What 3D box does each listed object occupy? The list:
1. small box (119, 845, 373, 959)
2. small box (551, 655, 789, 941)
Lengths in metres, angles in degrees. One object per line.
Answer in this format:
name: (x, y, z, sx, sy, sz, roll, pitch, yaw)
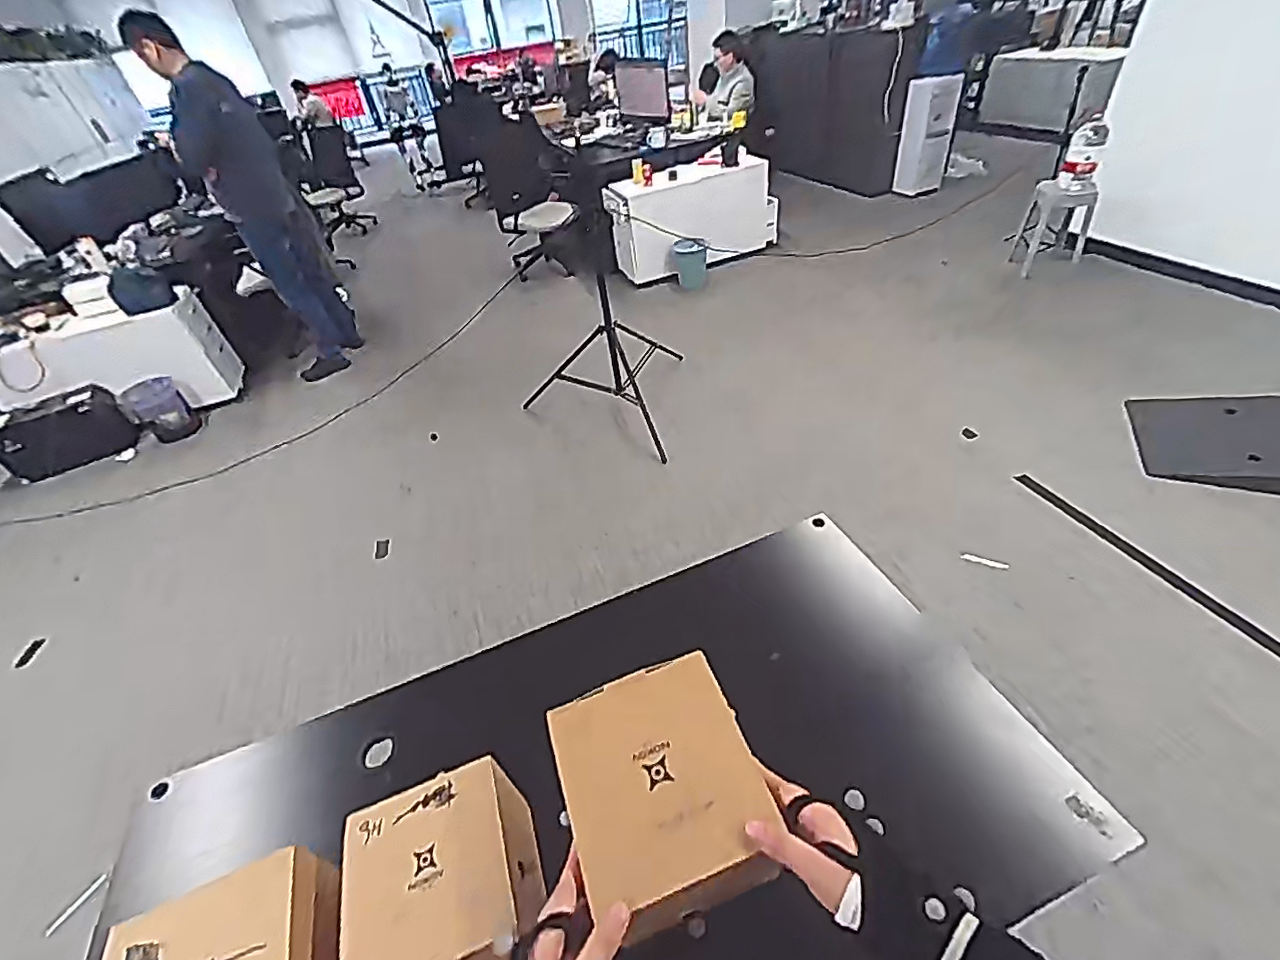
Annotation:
small box: (-0.404, 0.532, 0.564, 0.179, 0.176, 0.168, -20, 42, -14)
small box: (0.026, 0.313, 0.536, 0.168, 0.176, 0.179, -20, 47, -9)
